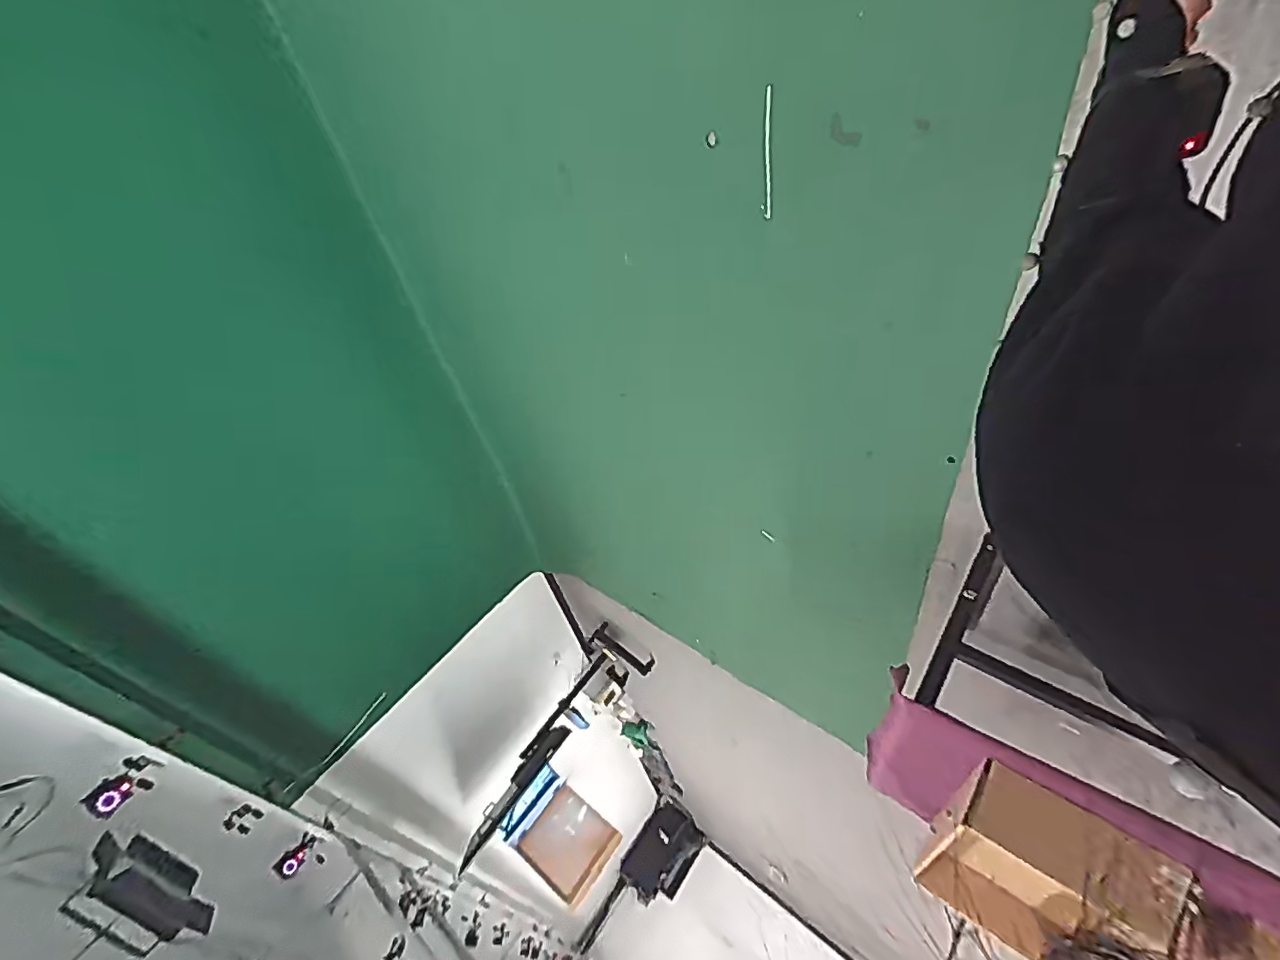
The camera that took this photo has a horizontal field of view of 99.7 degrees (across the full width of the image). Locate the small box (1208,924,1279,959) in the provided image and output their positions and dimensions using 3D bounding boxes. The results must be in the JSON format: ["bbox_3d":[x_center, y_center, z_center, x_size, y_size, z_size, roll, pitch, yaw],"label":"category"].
[{"bbox_3d":[1.241,1.003,1.042,0.168,0.176,0.179,25,146,32],"label":"small box"}]
